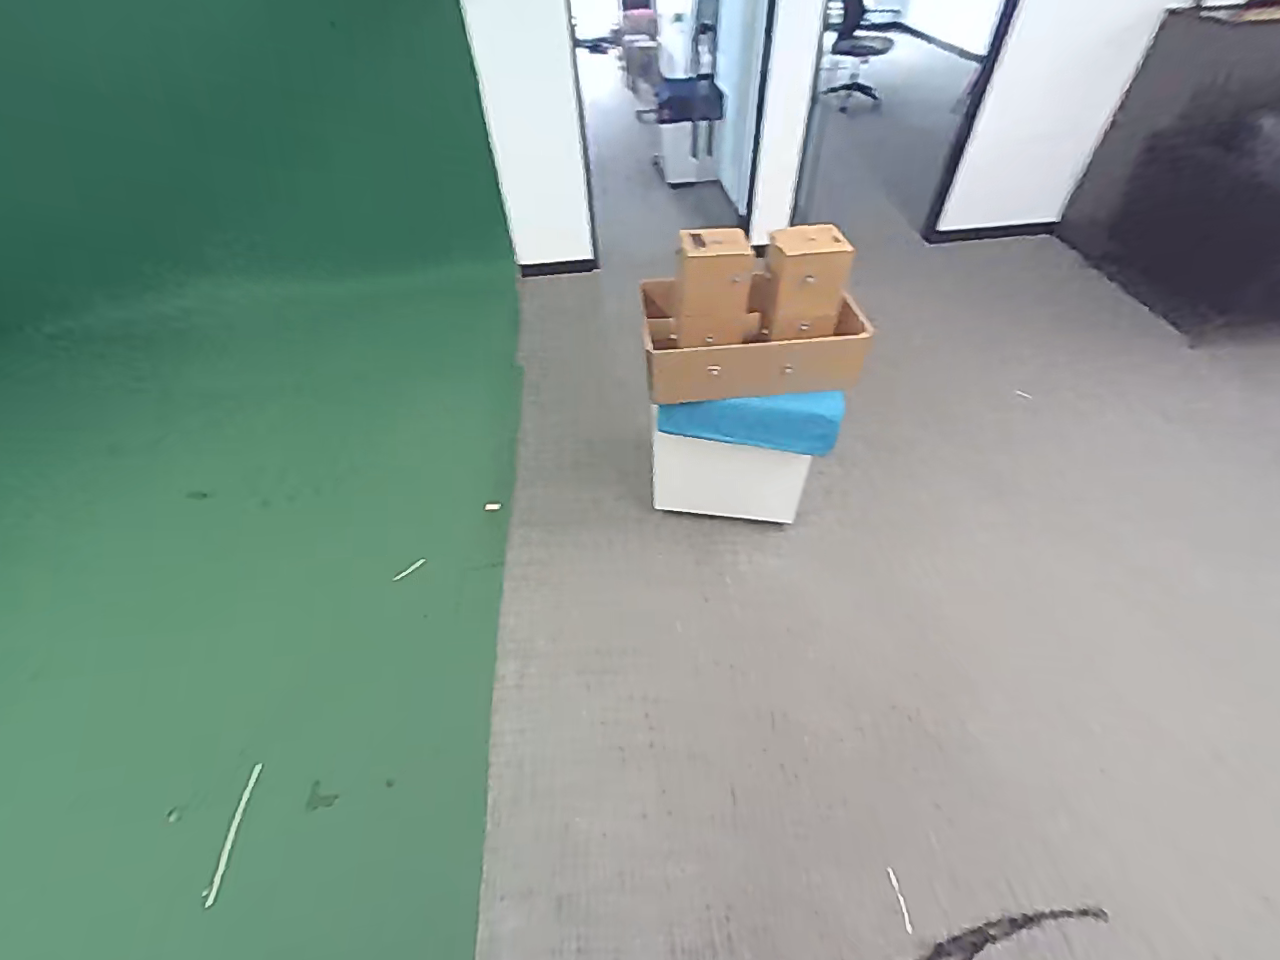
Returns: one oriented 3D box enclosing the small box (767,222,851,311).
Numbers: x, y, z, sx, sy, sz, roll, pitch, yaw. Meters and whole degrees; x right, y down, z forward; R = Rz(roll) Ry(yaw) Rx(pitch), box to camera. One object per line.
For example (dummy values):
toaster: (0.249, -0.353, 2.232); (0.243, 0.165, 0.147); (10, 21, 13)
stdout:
small box: (0.448, -0.576, 1.468); (0.179, 0.176, 0.168); (-7, 47, 0)
